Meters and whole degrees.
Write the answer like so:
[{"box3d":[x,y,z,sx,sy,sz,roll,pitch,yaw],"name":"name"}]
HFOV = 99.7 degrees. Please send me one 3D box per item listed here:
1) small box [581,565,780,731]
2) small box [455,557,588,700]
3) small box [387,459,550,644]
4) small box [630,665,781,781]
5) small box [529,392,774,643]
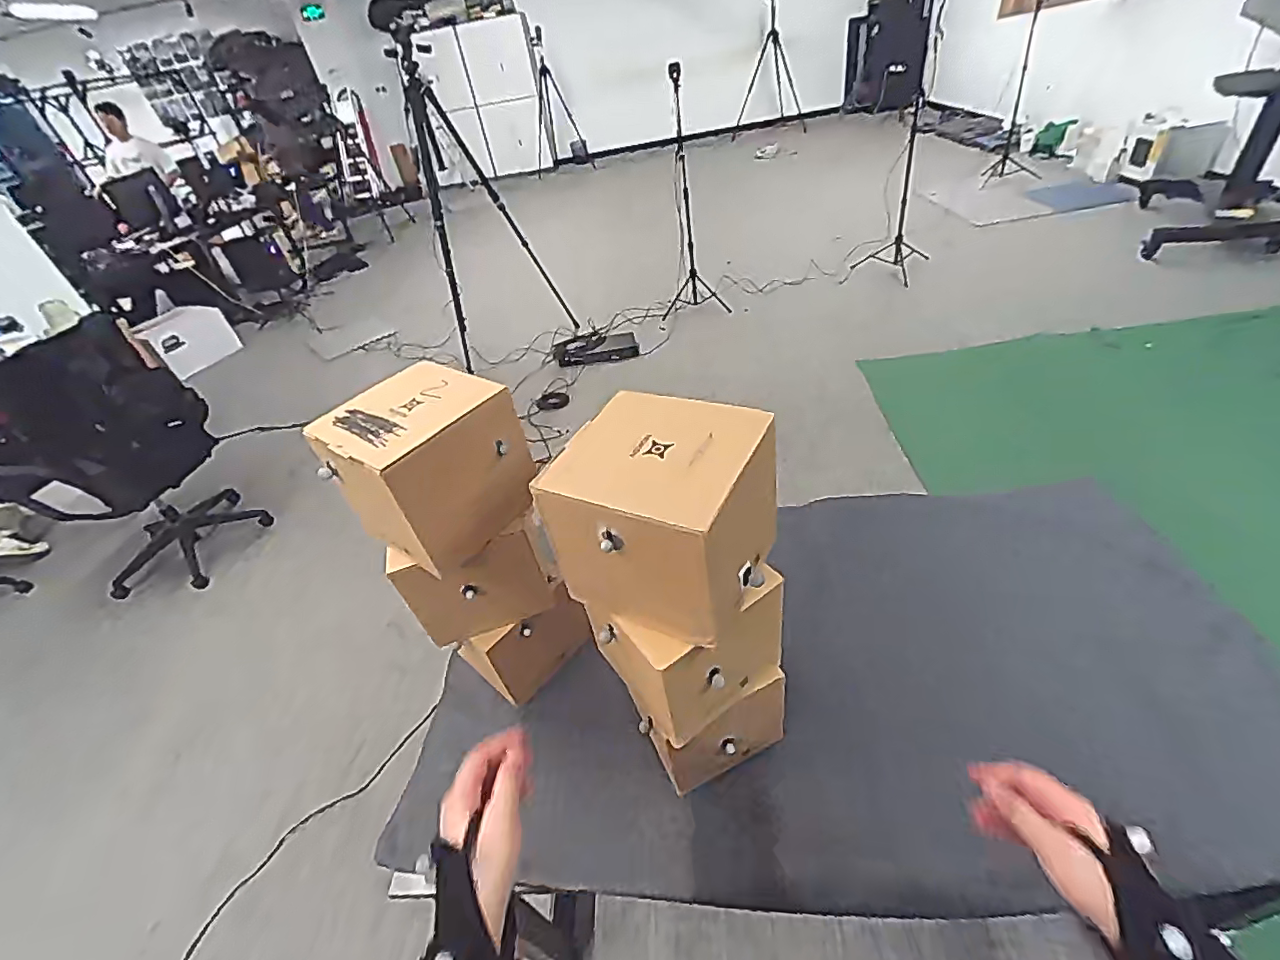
[{"box3d":[0.047,0.163,0.638,0.168,0.176,0.179,-30,42,-21],"name":"small box"},{"box3d":[-0.211,0.224,0.887,0.179,0.176,0.168,24,52,35],"name":"small box"},{"box3d":[-0.237,0.102,0.778,0.179,0.176,0.168,-19,41,-7],"name":"small box"},{"box3d":[0.079,0.281,0.745,0.168,0.176,0.179,-22,40,-13],"name":"small box"},{"box3d":[0.025,0.034,0.542,0.179,0.176,0.168,13,47,28],"name":"small box"}]
